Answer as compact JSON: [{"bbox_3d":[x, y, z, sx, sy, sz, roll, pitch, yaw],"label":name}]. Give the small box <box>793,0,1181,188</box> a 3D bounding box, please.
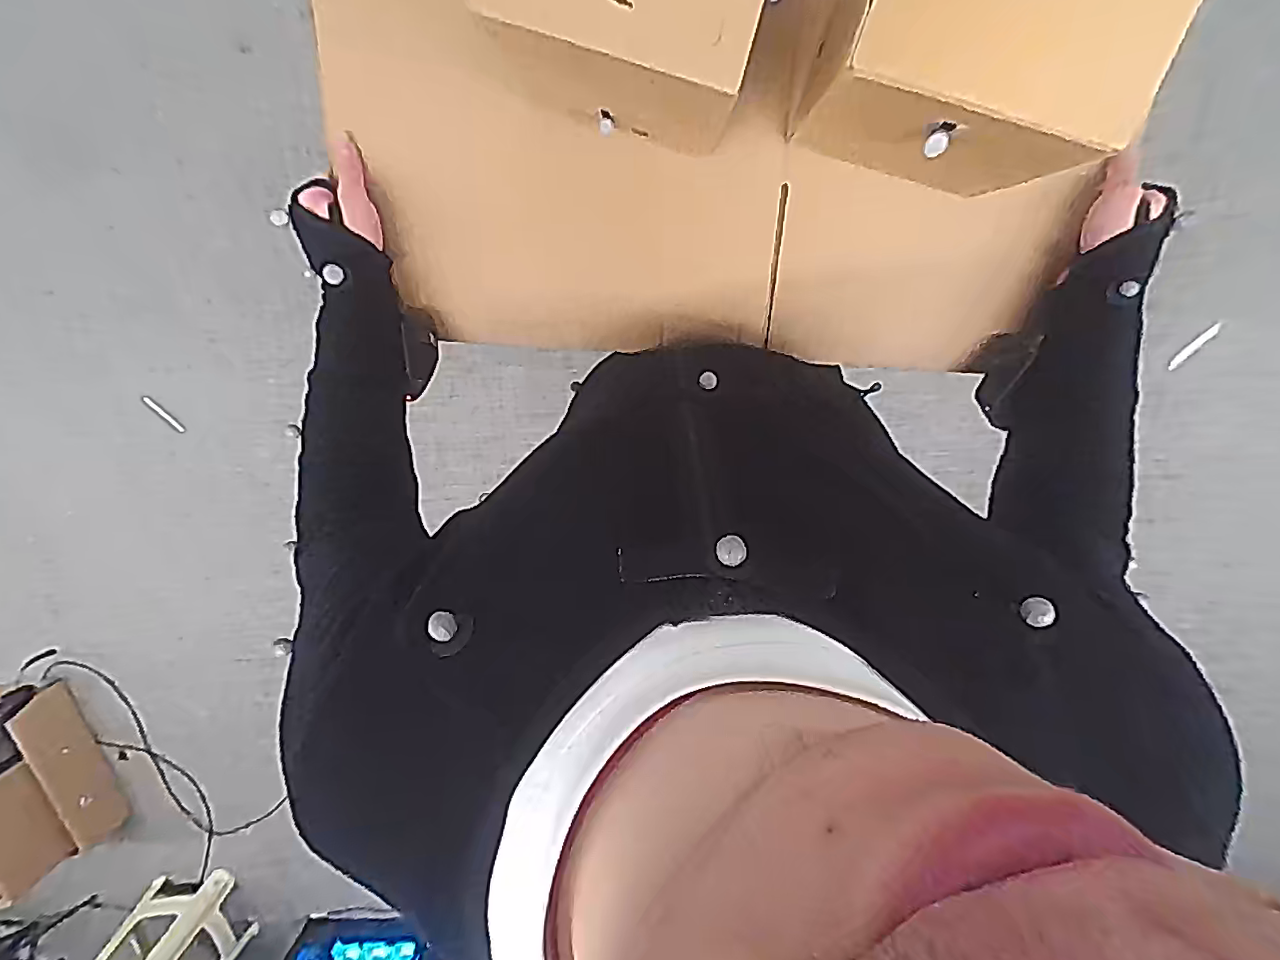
[{"bbox_3d":[0.231,-0.323,0.380,0.179,0.176,0.168,16,110,-2],"label":"small box"}]
